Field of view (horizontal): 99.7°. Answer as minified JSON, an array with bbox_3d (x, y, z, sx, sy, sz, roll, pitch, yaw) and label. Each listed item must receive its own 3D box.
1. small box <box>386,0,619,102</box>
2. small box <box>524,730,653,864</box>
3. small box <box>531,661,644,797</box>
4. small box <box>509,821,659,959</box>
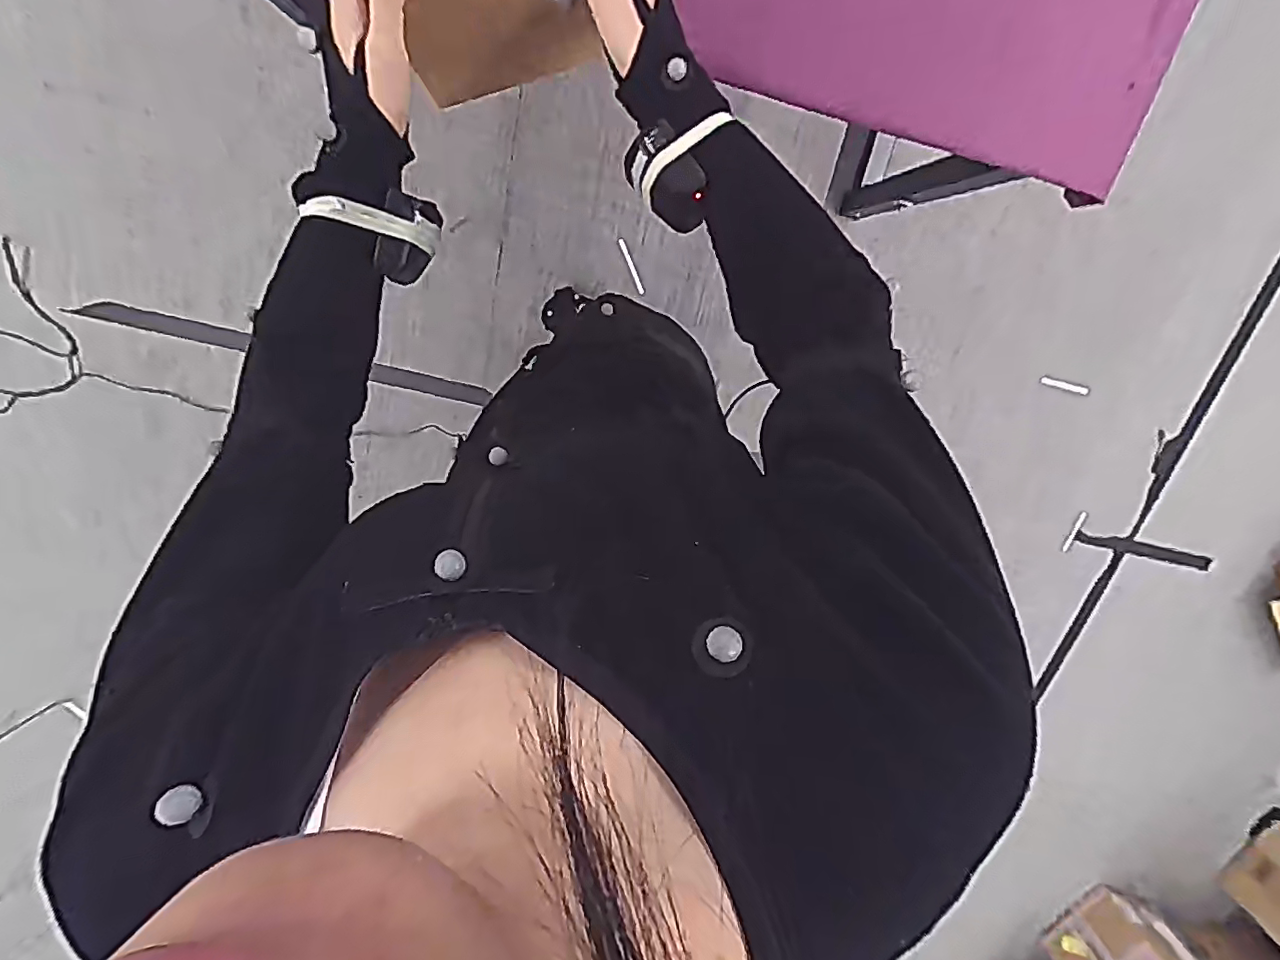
[{"bbox_3d":[-0.117,-0.434,0.414,0.179,0.176,0.168,-18,103,-1],"label":"small box"},{"bbox_3d":[-0.085,0.525,0.847,0.168,0.176,0.179,11,110,-8],"label":"small box"},{"bbox_3d":[-0.095,0.469,0.999,0.168,0.176,0.179,12,111,-9],"label":"small box"},{"bbox_3d":[-0.077,0.584,0.696,0.168,0.176,0.179,11,109,-9],"label":"small box"}]
